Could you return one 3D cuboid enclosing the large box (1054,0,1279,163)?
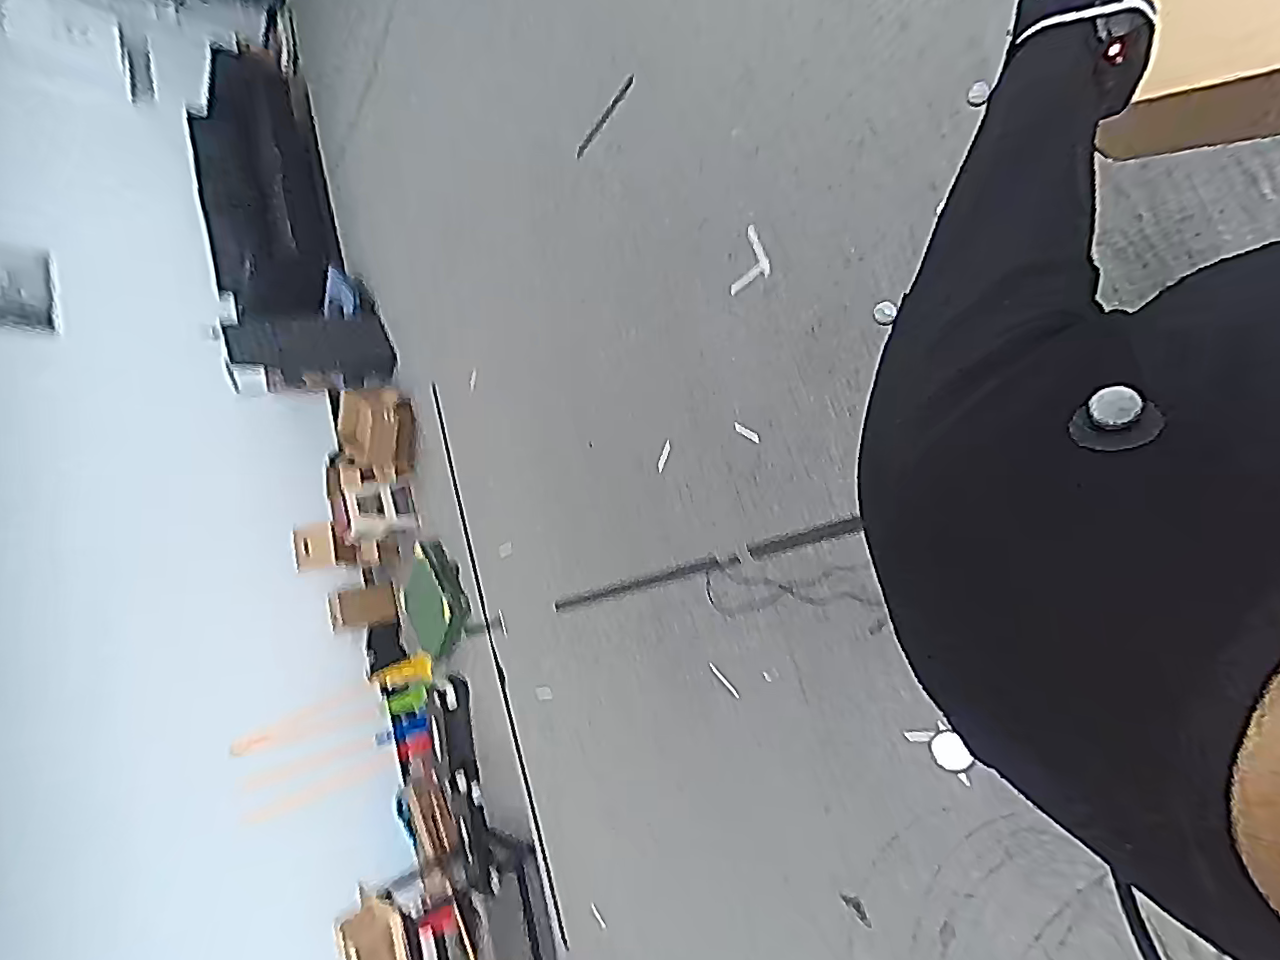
[{"bbox_3d":[0.615,-0.479,0.414,0.408,0.320,0.320,13,113,45],"label":"large box"}]
